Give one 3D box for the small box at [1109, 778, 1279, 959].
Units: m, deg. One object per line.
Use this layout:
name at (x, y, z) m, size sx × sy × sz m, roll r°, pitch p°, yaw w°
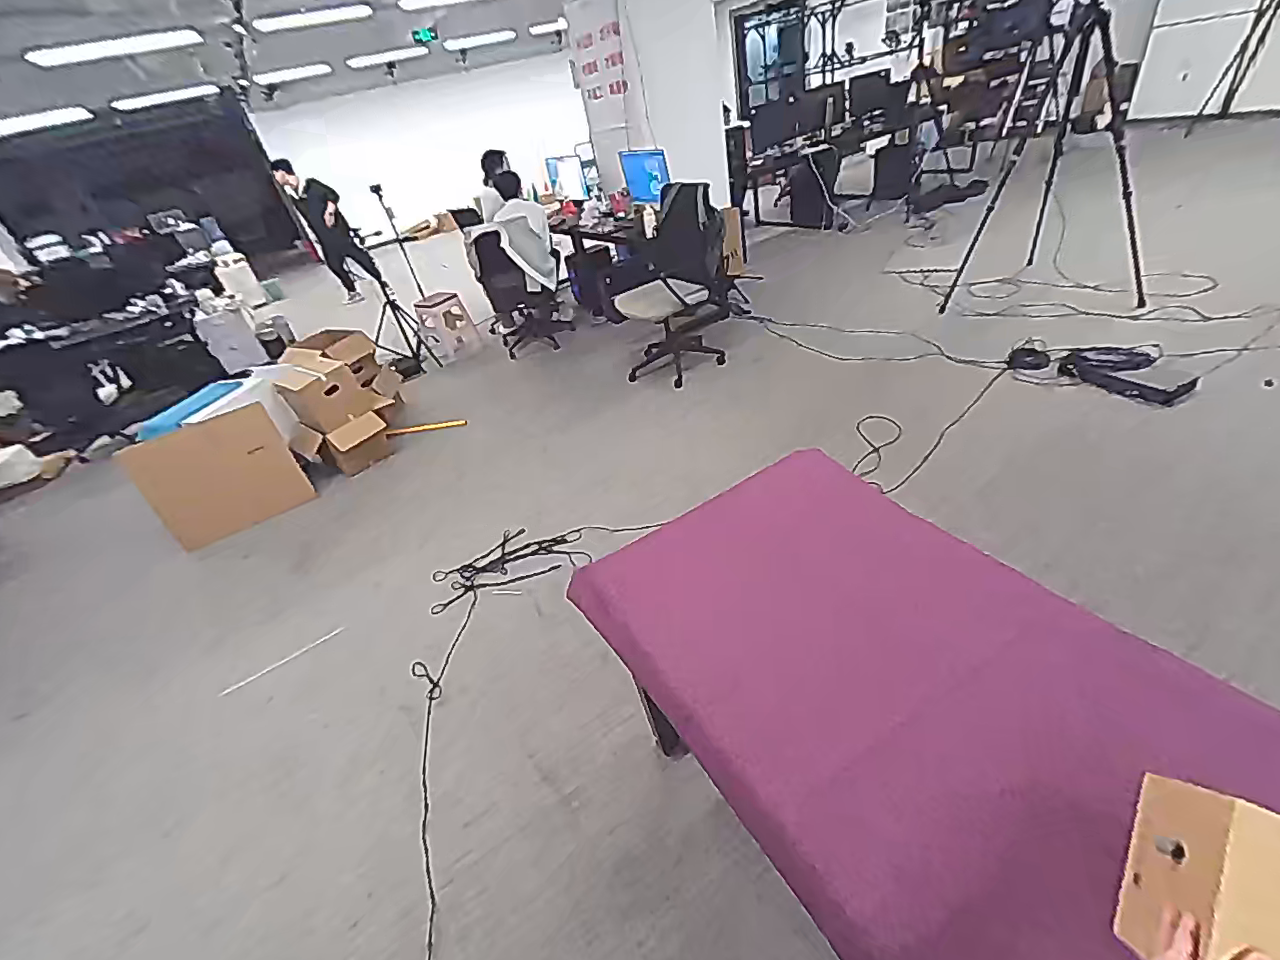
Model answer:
small box at (0.551, 0.380, 0.460) m, size 0.179 × 0.176 × 0.168 m, roll 18°, pitch 78°, yaw 24°
